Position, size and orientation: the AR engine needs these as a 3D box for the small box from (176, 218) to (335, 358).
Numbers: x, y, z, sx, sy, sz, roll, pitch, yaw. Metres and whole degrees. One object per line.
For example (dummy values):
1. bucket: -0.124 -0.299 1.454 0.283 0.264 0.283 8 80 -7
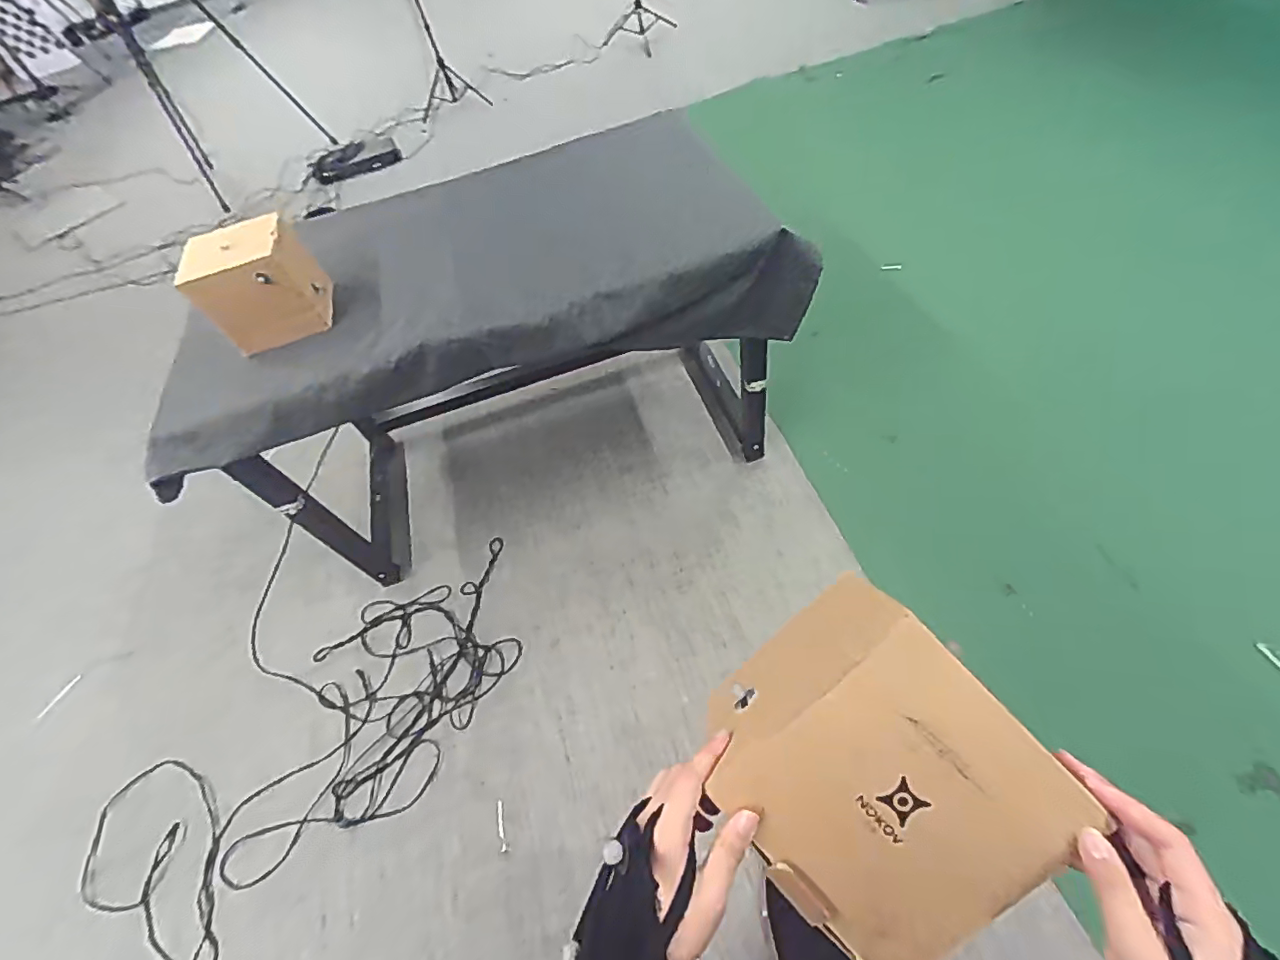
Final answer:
1. small box: -0.722 -0.362 1.037 0.179 0.176 0.168 -20 54 -4
